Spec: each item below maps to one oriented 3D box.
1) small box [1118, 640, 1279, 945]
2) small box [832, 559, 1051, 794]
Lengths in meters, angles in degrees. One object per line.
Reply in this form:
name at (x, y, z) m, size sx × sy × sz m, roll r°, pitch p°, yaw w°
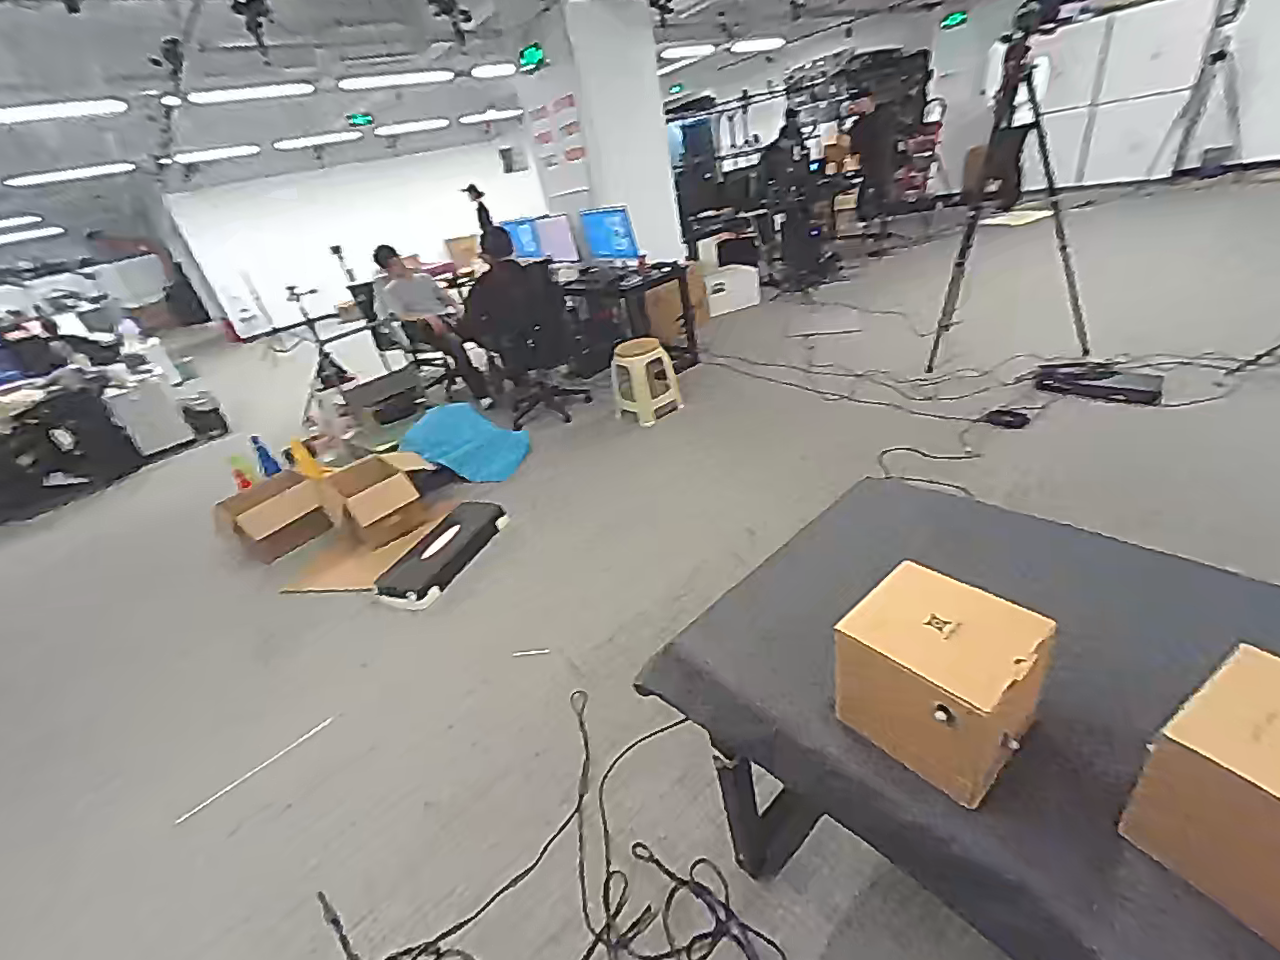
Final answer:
small box at (0.583, 0.287, 0.479) m, size 0.168 × 0.176 × 0.179 m, roll -24°, pitch 30°, yaw -21°
small box at (0.356, 0.233, 0.663) m, size 0.168 × 0.176 × 0.179 m, roll -29°, pitch 34°, yaw -29°
